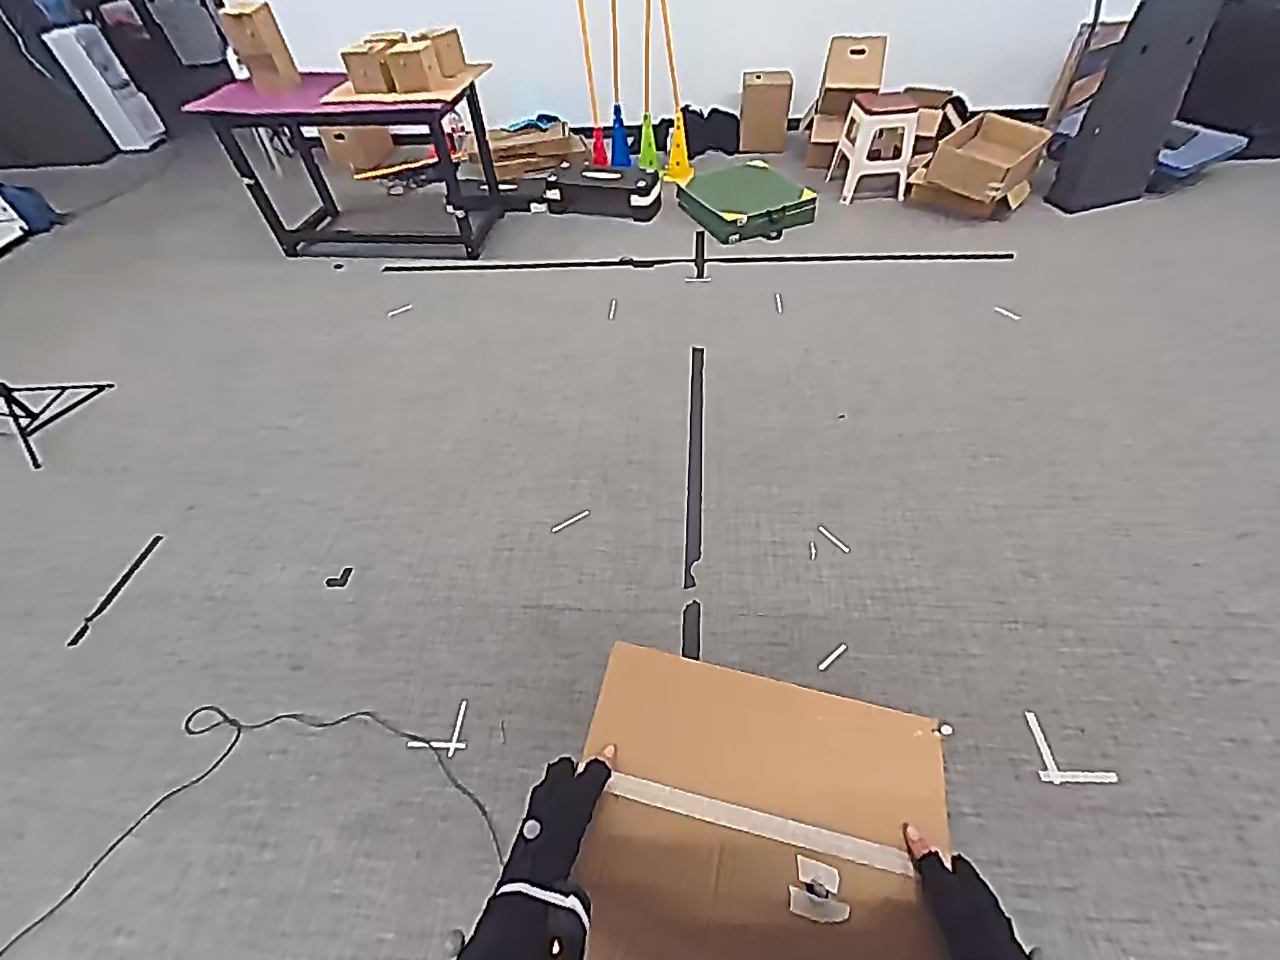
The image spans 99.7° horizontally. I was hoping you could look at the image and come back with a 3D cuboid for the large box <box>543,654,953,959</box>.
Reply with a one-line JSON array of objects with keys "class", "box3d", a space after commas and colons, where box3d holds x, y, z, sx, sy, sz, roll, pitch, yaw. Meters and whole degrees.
[{"class": "large box", "box3d": [0.124, 0.469, 0.709, 0.408, 0.320, 0.320, 12, 55, 7]}]
